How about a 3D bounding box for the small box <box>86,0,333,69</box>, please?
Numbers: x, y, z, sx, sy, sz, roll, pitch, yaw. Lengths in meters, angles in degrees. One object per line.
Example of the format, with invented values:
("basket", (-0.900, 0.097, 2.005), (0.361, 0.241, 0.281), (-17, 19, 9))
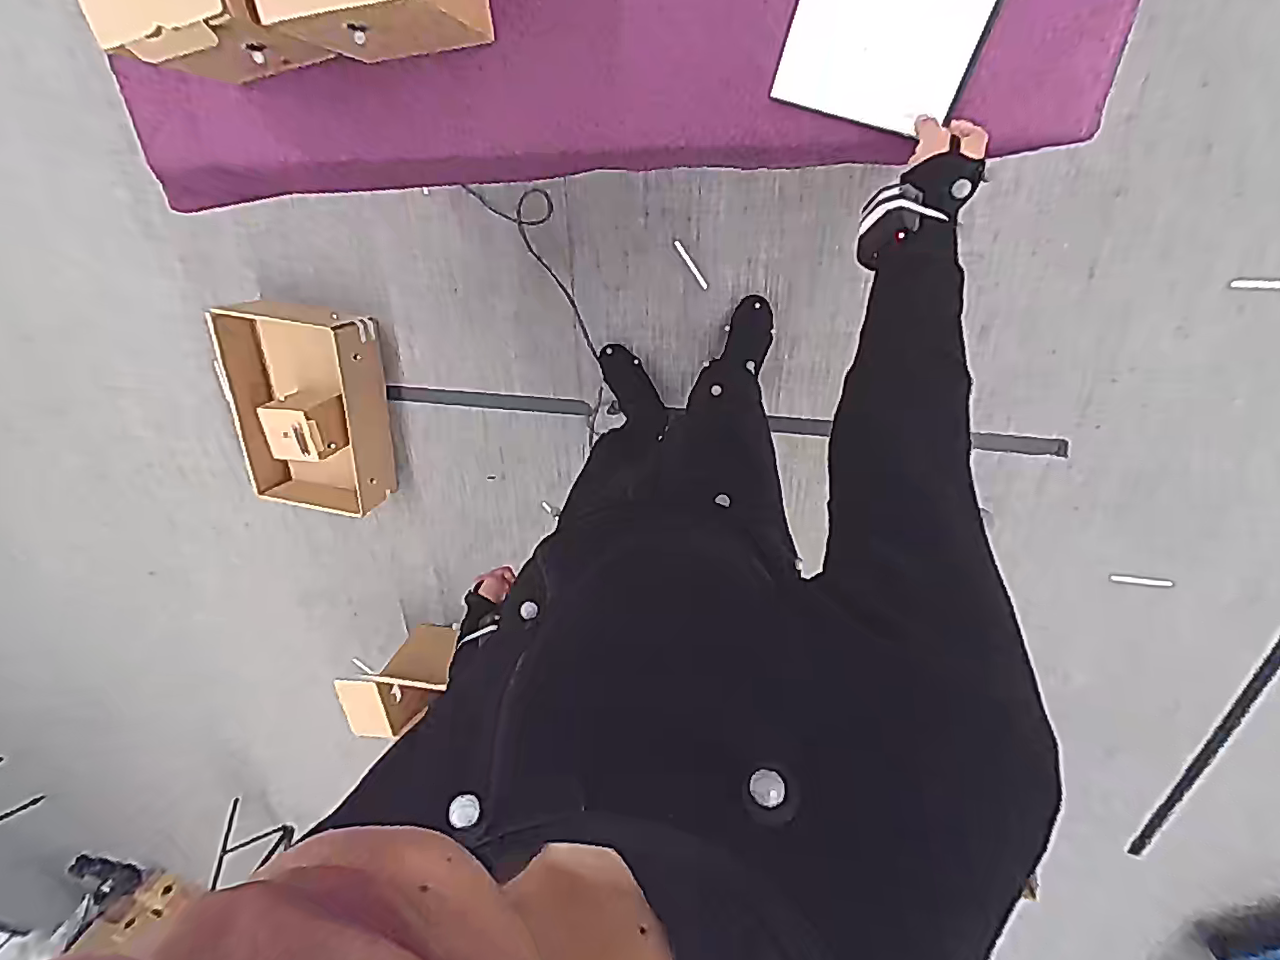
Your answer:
("small box", (-0.475, -0.570, 0.582), (0.168, 0.176, 0.179), (-2, 116, 13))
